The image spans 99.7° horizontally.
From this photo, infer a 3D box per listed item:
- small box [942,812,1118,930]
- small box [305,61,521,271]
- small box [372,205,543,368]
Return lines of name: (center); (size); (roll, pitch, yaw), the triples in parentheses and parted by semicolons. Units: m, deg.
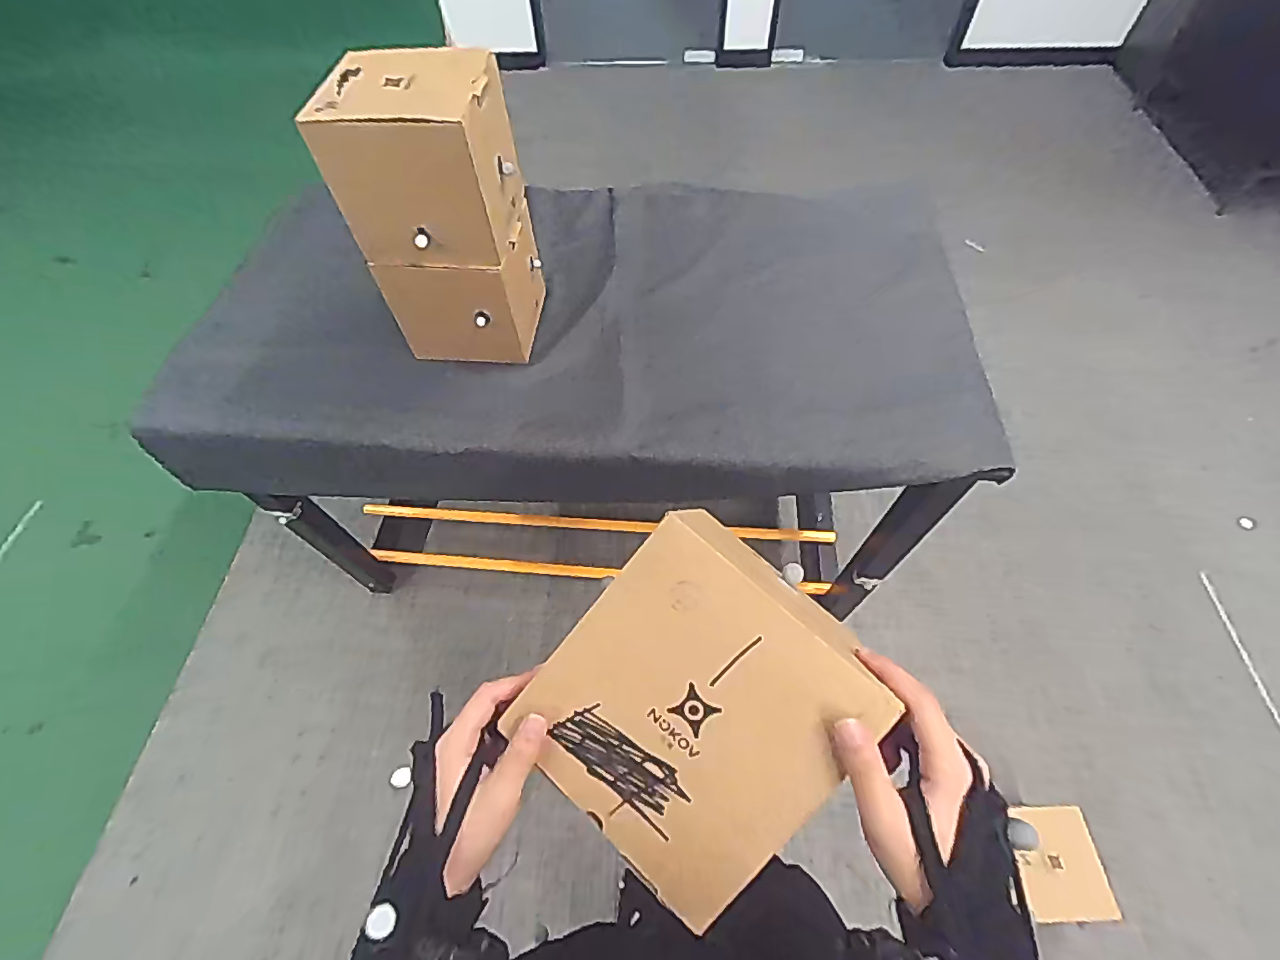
small box: (0.704, 0.712, 1.000); (0.179, 0.176, 0.168); (-2, 57, 0)
small box: (-0.253, -0.376, 0.661); (0.179, 0.176, 0.168); (3, 57, 2)
small box: (-0.249, -0.281, 0.795); (0.179, 0.176, 0.168); (3, 56, 4)
